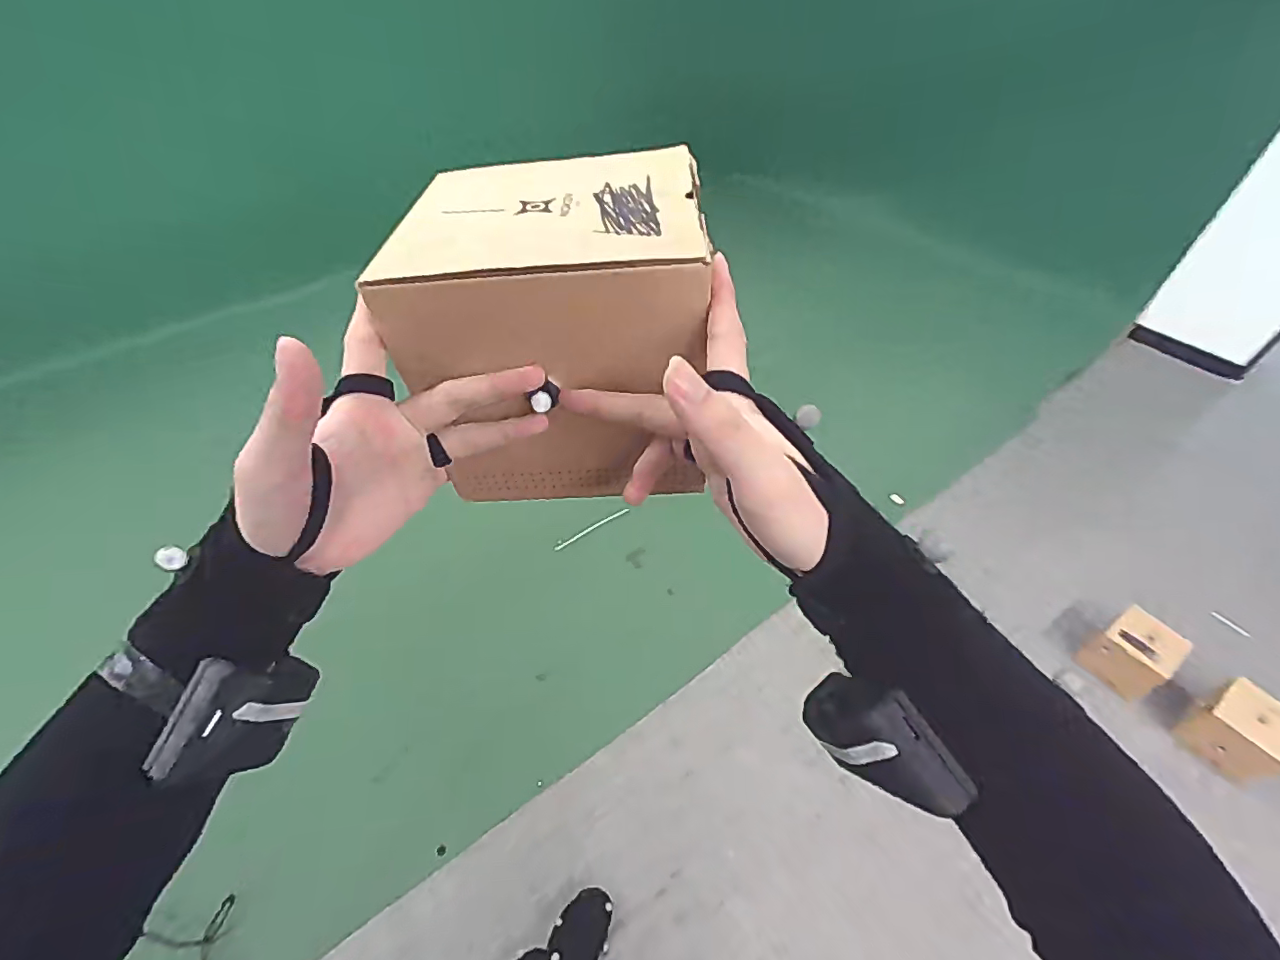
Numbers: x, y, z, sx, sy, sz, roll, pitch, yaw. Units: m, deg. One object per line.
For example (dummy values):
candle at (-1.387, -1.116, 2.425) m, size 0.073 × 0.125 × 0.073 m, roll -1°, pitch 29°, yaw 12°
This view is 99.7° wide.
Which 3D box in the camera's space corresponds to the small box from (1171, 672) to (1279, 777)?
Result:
small box at (1.595, 0.659, 1.450) m, size 0.179 × 0.176 × 0.168 m, roll -29°, pitch 55°, yaw -23°

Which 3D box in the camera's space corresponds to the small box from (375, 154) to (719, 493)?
small box at (-0.041, -0.105, 0.380) m, size 0.179 × 0.176 × 0.168 m, roll -2°, pitch 46°, yaw 4°
